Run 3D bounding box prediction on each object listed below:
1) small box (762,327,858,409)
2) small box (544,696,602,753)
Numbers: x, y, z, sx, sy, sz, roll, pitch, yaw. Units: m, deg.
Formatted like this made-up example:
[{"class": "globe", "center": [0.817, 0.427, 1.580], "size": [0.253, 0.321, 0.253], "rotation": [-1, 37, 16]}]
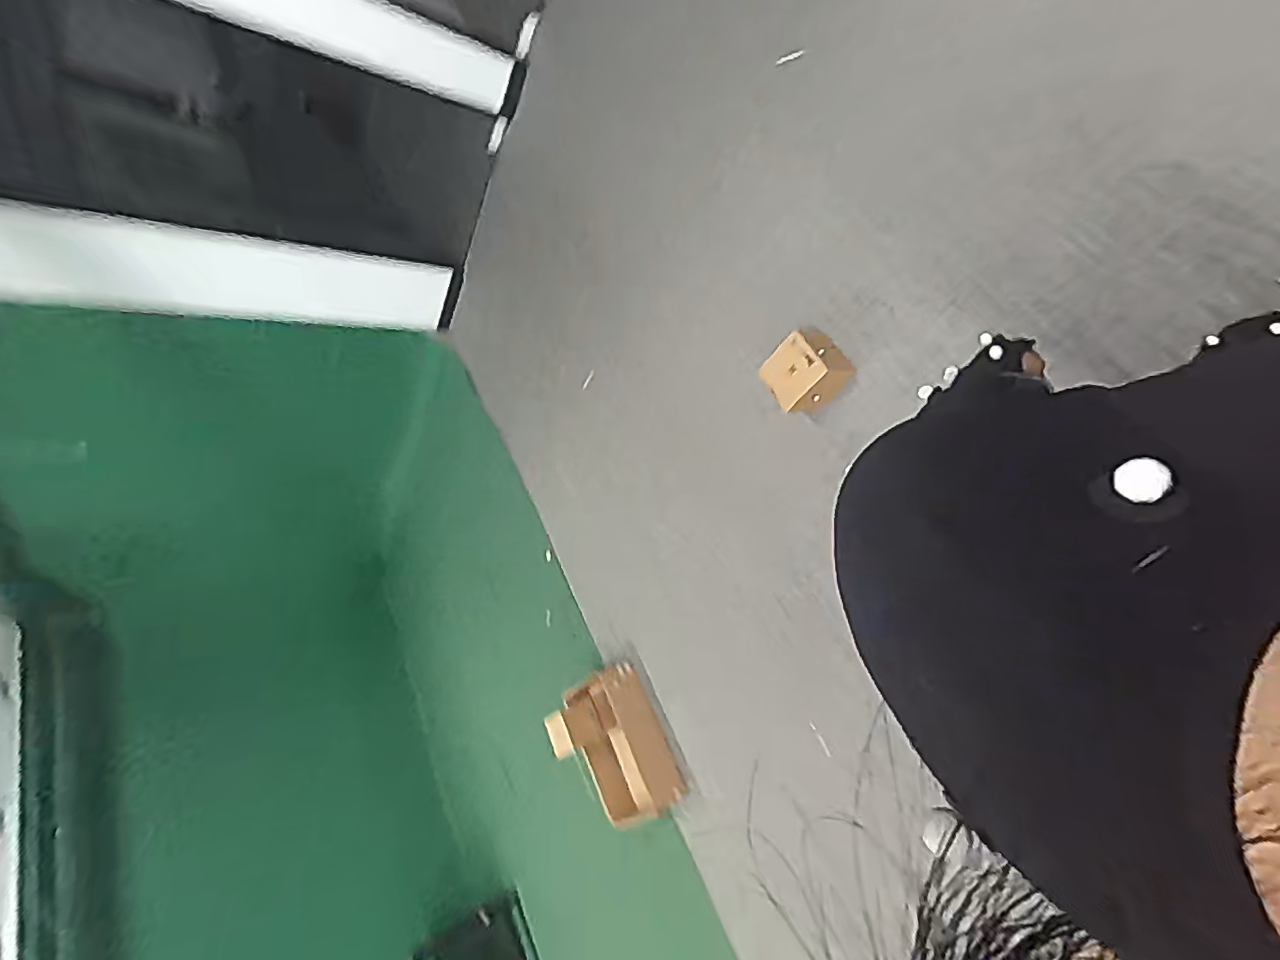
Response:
[{"class": "small box", "center": [0.504, -0.327, 1.601], "size": [0.179, 0.176, 0.168], "rotation": [-50, 58, 41]}, {"class": "small box", "center": [-0.296, 1.087, 2.403], "size": [0.179, 0.176, 0.168], "rotation": [-45, 62, 41]}]
